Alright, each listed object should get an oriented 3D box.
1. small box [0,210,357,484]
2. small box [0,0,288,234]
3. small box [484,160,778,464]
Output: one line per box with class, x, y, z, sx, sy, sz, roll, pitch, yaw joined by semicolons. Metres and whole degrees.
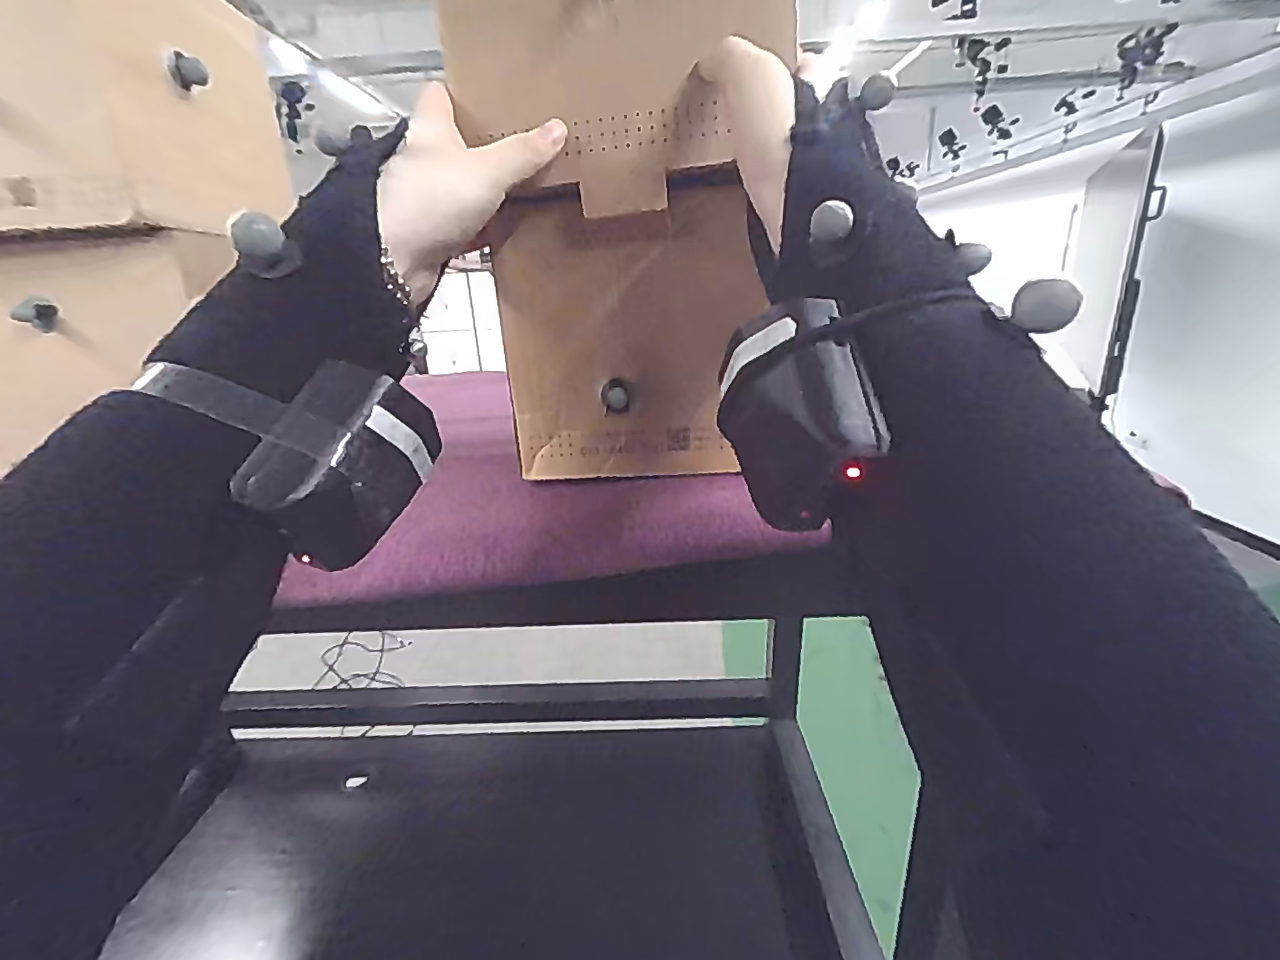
small box;-0.357;-0.098;0.418;0.179;0.176;0.168;-2;19;3
small box;-0.371;-0.249;0.354;0.168;0.176;0.179;-4;20;-2
small box;0.004;-0.114;0.397;0.168;0.176;0.179;-3;19;5
